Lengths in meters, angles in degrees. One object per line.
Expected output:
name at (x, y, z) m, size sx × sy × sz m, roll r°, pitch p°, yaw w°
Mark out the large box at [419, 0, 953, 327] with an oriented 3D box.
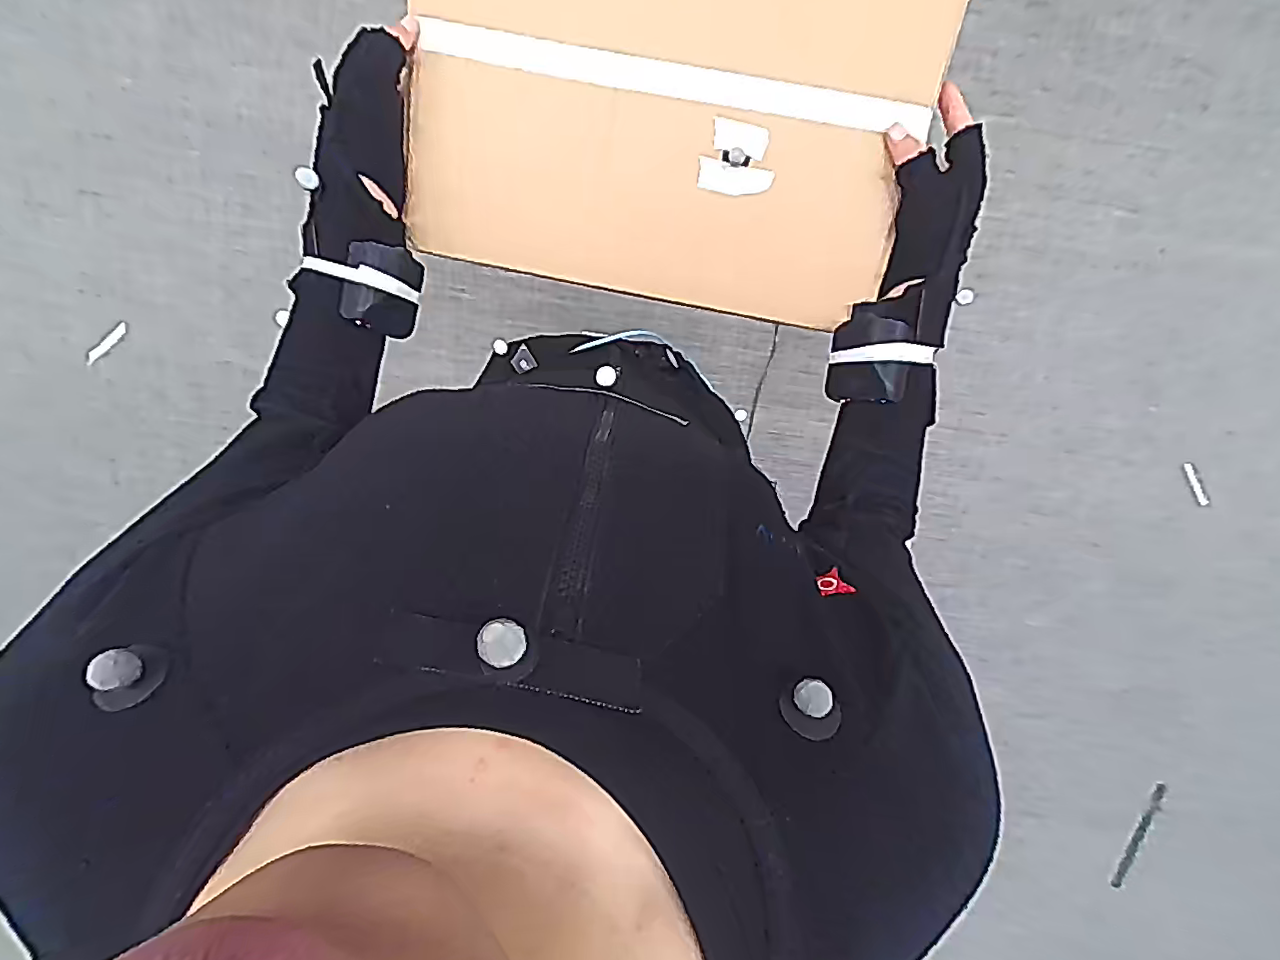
large box at (0.032, -0.358, 0.571) m, size 0.408 × 0.320 × 0.320 m, roll 12°, pitch 110°, yaw 1°
